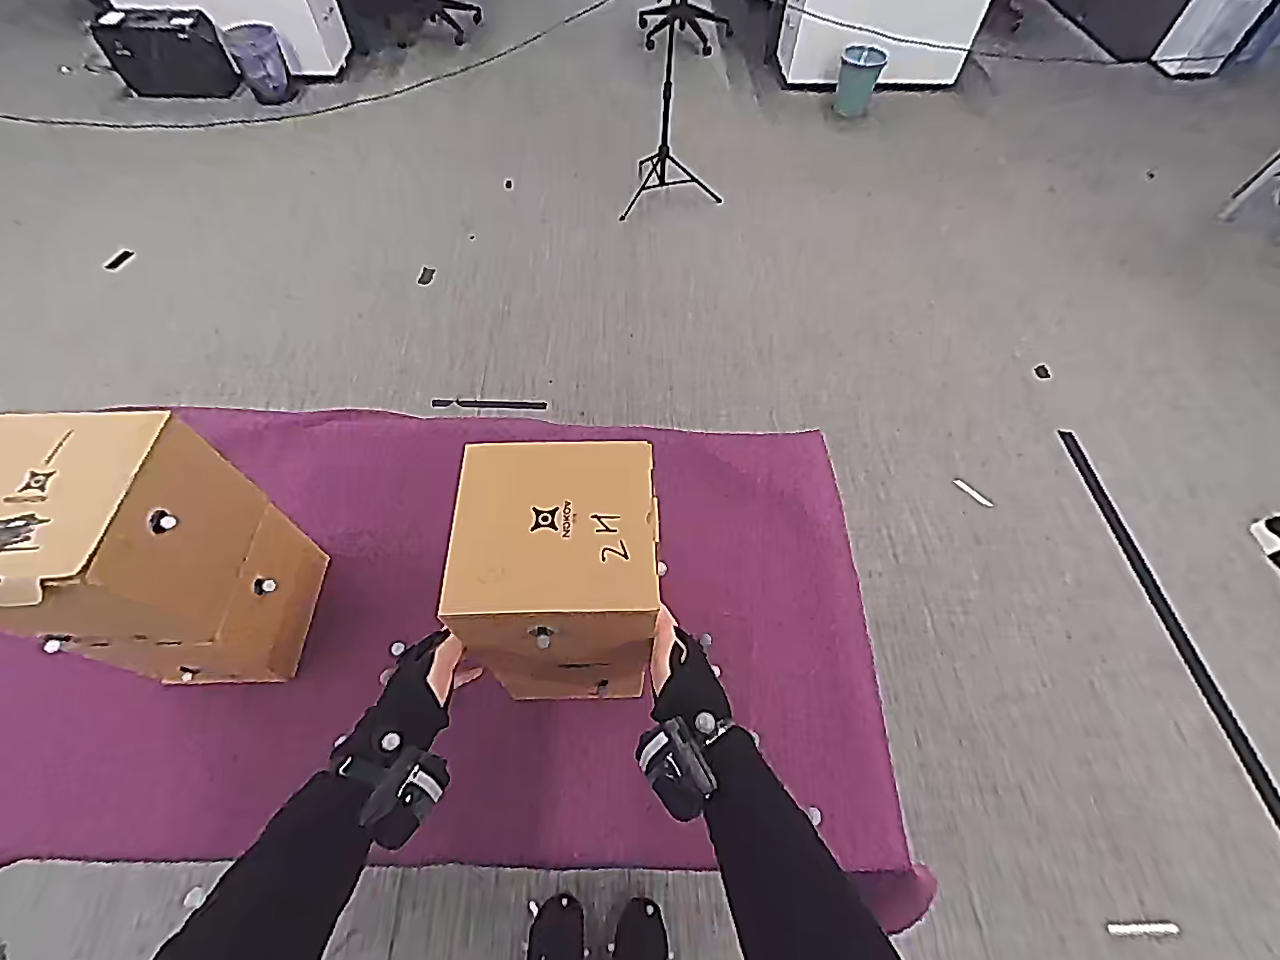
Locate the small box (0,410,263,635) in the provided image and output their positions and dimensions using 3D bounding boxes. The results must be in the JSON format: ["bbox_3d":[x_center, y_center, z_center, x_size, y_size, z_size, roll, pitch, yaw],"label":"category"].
[{"bbox_3d":[-0.523,0.050,0.539,0.168,0.176,0.179,-1,58,-3],"label":"small box"}]

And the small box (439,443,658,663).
[{"bbox_3d":[-0.074,0.078,0.533,0.179,0.176,0.168,0,59,-2],"label":"small box"}]

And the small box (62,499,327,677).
[{"bbox_3d":[-0.526,0.138,0.678,0.168,0.176,0.179,0,58,-2],"label":"small box"}]

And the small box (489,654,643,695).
[{"bbox_3d":[-0.078,0.163,0.673,0.168,0.176,0.179,1,57,-2],"label":"small box"}]
